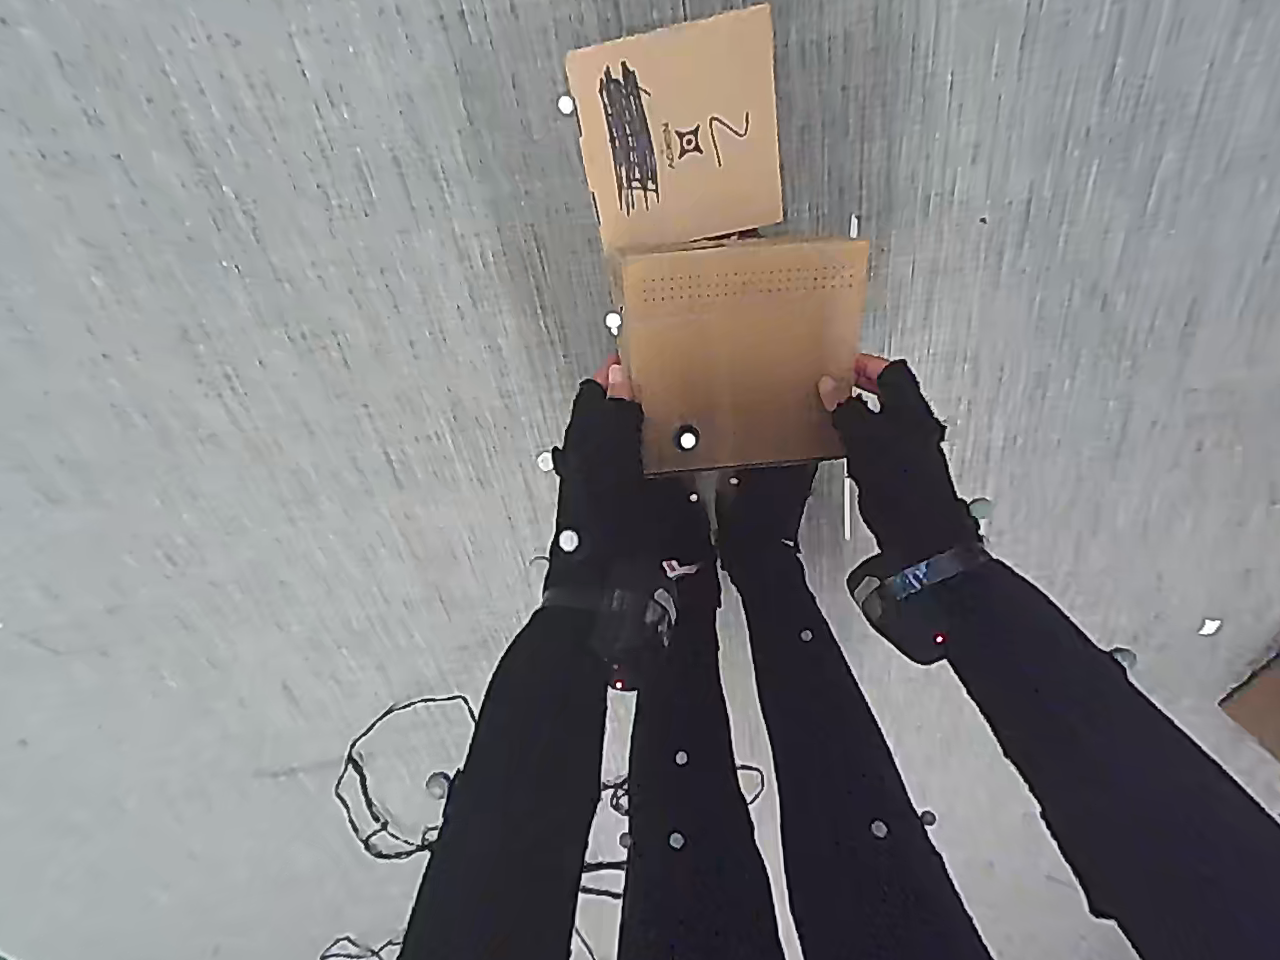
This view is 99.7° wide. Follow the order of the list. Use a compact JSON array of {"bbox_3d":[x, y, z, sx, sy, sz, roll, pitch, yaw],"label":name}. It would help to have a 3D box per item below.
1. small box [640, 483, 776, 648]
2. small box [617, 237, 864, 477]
[{"bbox_3d":[0.097,0.127,0.839,0.168,0.176,0.179,-9,120,-7],"label":"small box"},{"bbox_3d":[0.076,-0.118,0.474,0.179,0.168,0.176,-4,114,-2],"label":"small box"}]
